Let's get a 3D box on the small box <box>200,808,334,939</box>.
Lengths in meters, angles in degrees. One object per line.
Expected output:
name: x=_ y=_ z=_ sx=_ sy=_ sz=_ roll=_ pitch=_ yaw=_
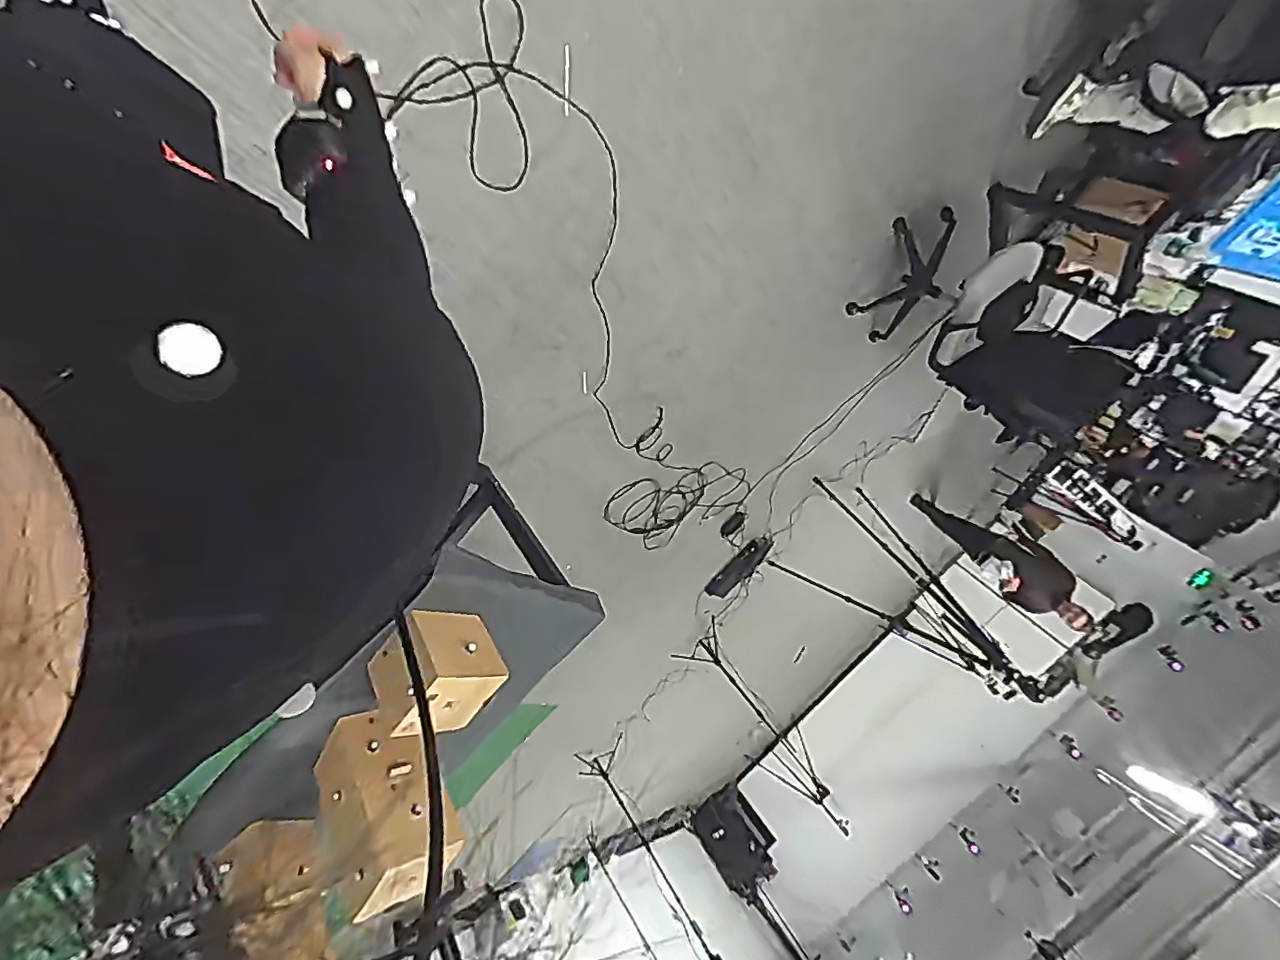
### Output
small box: x=-0.834 y=0.868 z=1.212 sx=0.168 sy=0.176 sz=0.179 roll=-39 pitch=145 yaw=-7

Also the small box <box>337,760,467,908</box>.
small box: x=-0.486 y=0.697 z=1.093 sx=0.168 sy=0.176 sz=0.179 roll=12 pitch=118 yaw=-49

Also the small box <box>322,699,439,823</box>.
small box: x=-0.577 y=0.599 z=1.190 sx=0.168 sy=0.176 sz=0.179 roll=9 pitch=121 yaw=-48

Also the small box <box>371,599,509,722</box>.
small box: x=-0.410 y=0.361 z=1.103 sx=0.168 sy=0.176 sz=0.179 roll=-51 pitch=144 yaw=11

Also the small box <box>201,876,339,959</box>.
small box: x=-0.756 y=0.959 z=1.099 sx=0.179 sy=0.176 sz=0.168 roll=-49 pitch=145 yaw=7
